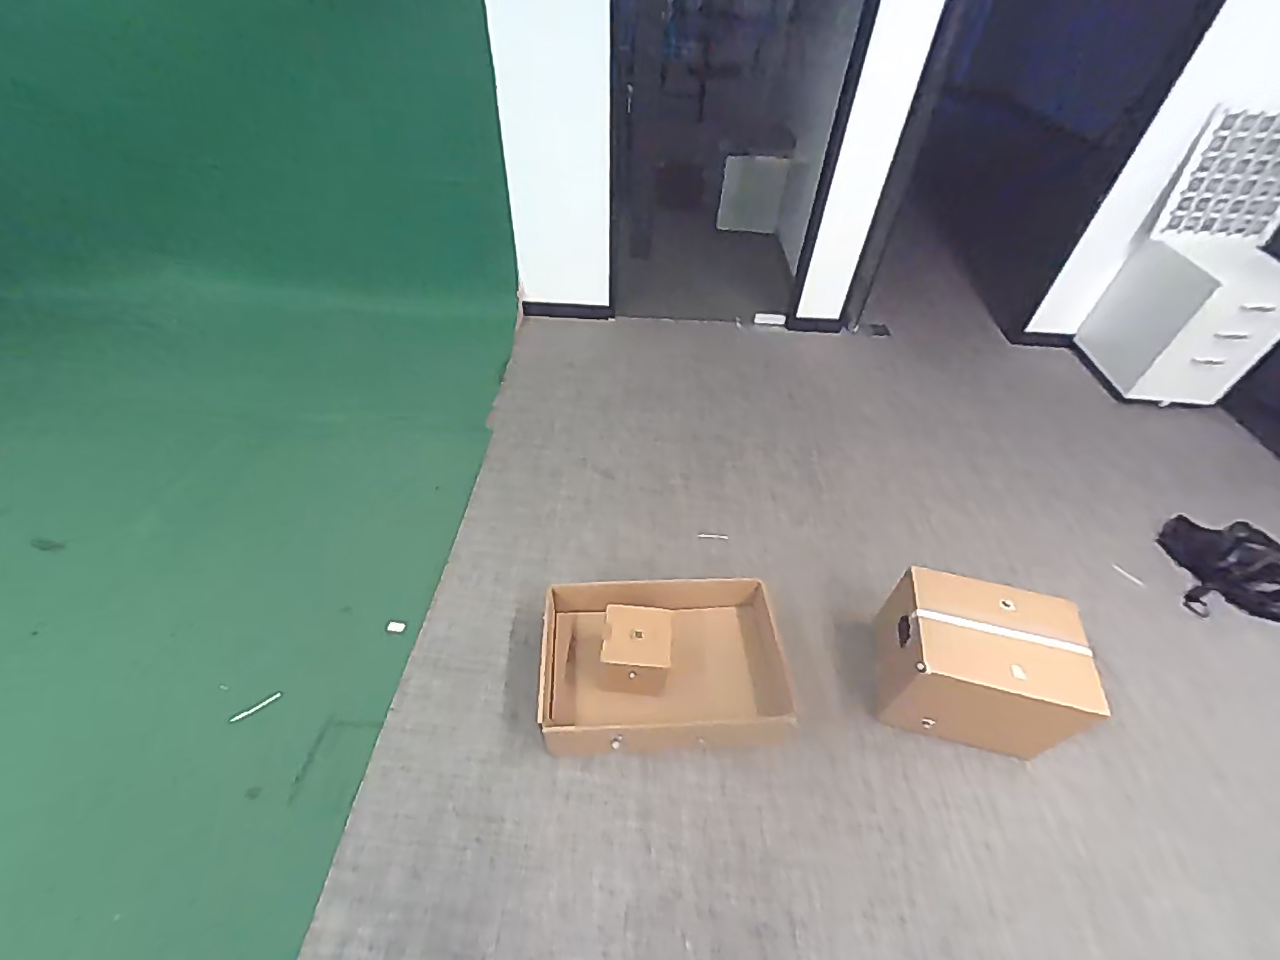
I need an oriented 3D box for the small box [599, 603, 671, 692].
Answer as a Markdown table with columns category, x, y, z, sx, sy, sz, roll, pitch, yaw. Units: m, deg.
| category | x | y | z | sx | sy | sz | roll | pitch | yaw |
| --- | --- | --- | --- | --- | --- | --- | --- | --- | --- |
| small box | -0.015 | 0.451 | 1.447 | 0.179 | 0.176 | 0.168 | 6 | 46 | -1 |
